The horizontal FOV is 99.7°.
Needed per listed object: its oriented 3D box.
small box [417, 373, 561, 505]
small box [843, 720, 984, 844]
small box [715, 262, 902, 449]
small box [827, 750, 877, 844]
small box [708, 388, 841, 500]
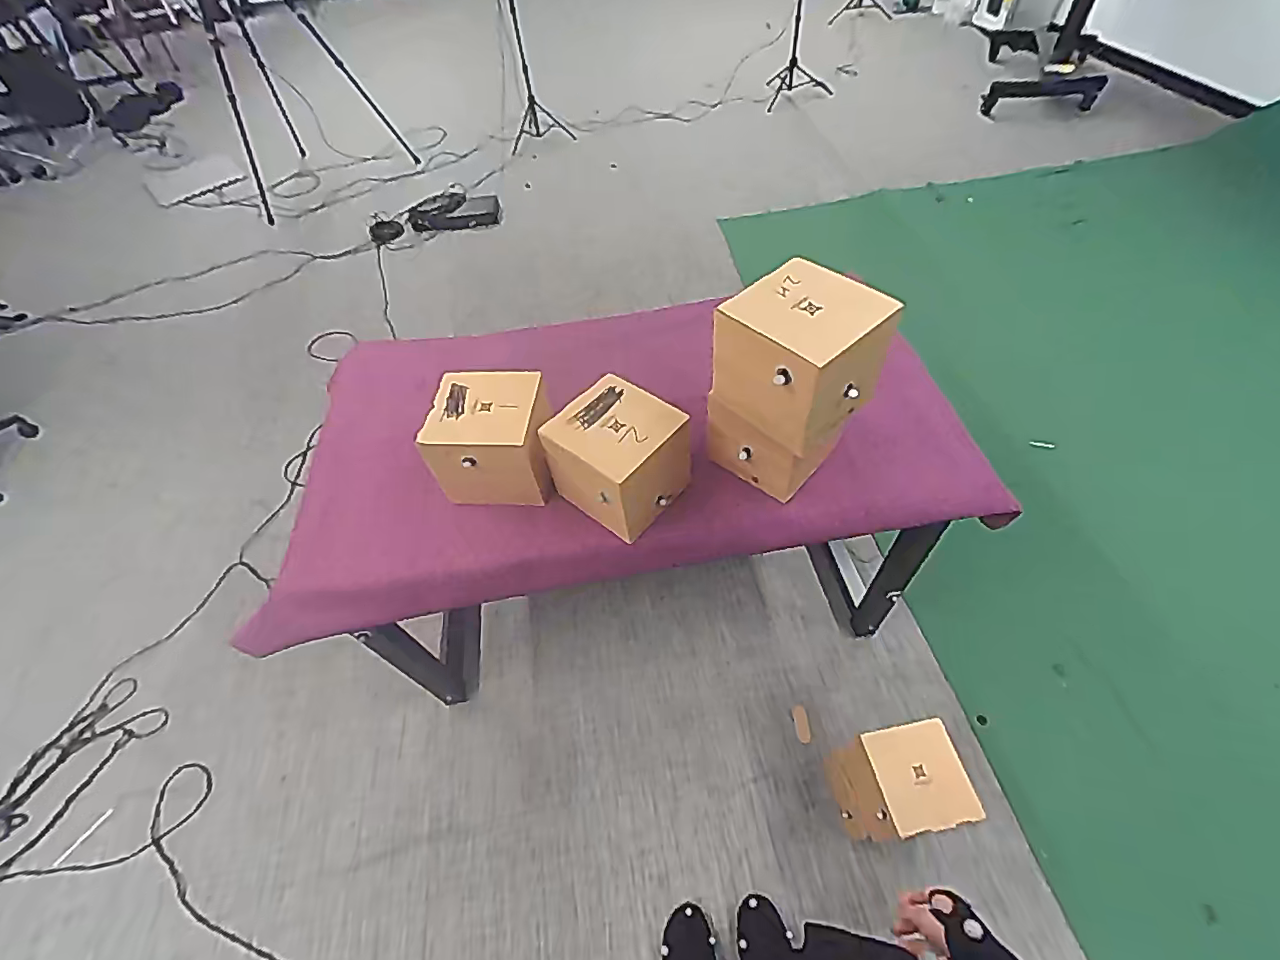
[{"bbox_3d":[-0.249,-0.068,0.941,0.179,0.176,0.168,1,53,6],"label":"small box"},{"bbox_3d":[0.524,0.600,1.070,0.168,0.176,0.179,-11,54,-3],"label":"small box"},{"bbox_3d":[0.224,-0.168,0.760,0.168,0.176,0.179,-35,56,-20],"label":"small box"},{"bbox_3d":[0.531,0.696,1.200,0.179,0.176,0.168,-8,53,-1],"label":"small box"},{"bbox_3d":[0.233,-0.098,0.914,0.168,0.176,0.179,34,64,28],"label":"small box"}]
